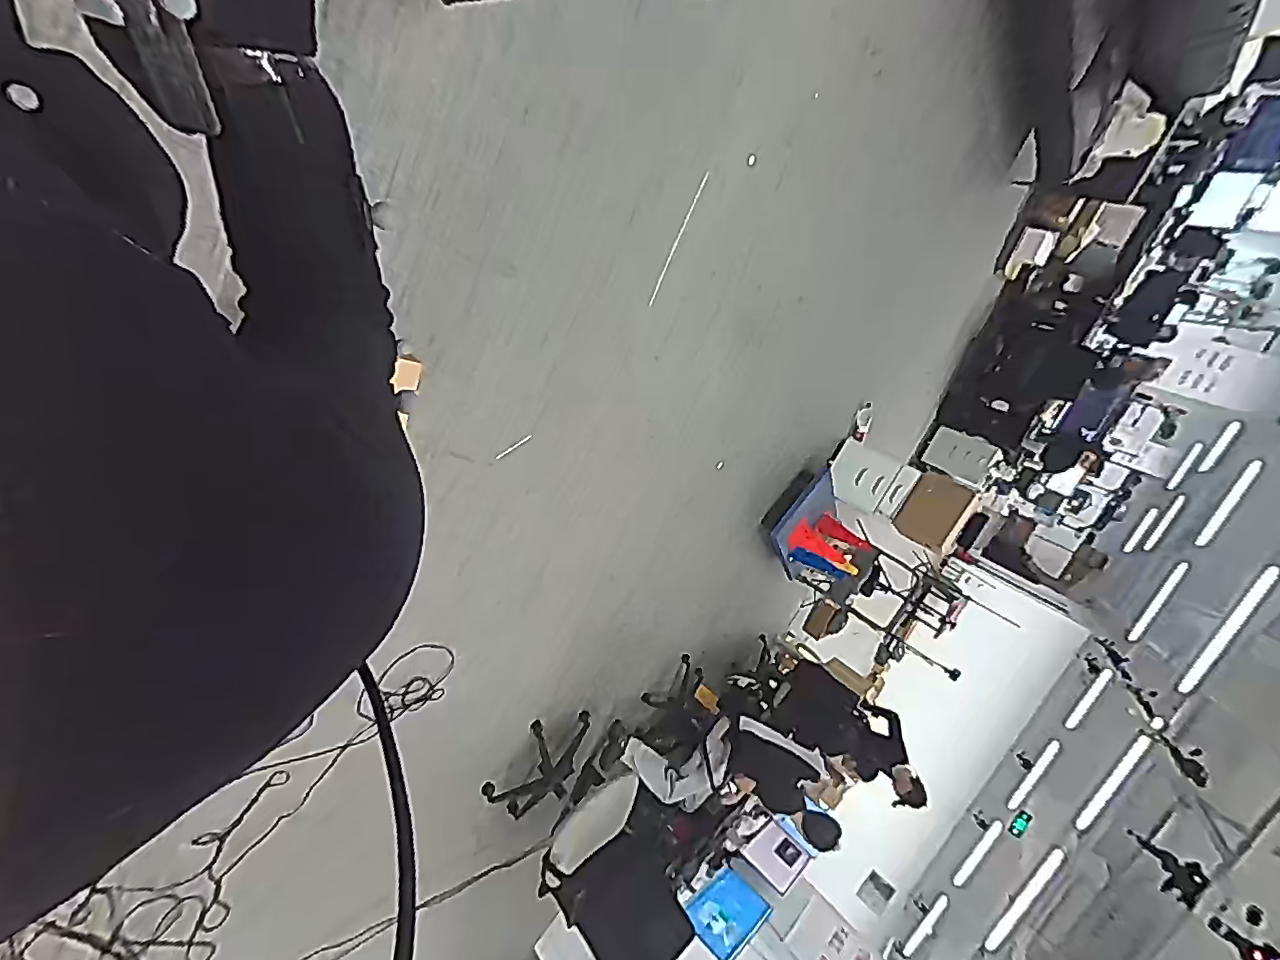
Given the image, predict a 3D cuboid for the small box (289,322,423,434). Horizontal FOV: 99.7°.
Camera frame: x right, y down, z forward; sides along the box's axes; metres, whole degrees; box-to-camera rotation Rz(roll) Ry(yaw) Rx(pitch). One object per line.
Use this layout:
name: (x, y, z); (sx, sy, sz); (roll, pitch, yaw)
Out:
small box: (-0.581, -0.208, 1.103); (0.179, 0.176, 0.168); (4, 112, -51)
